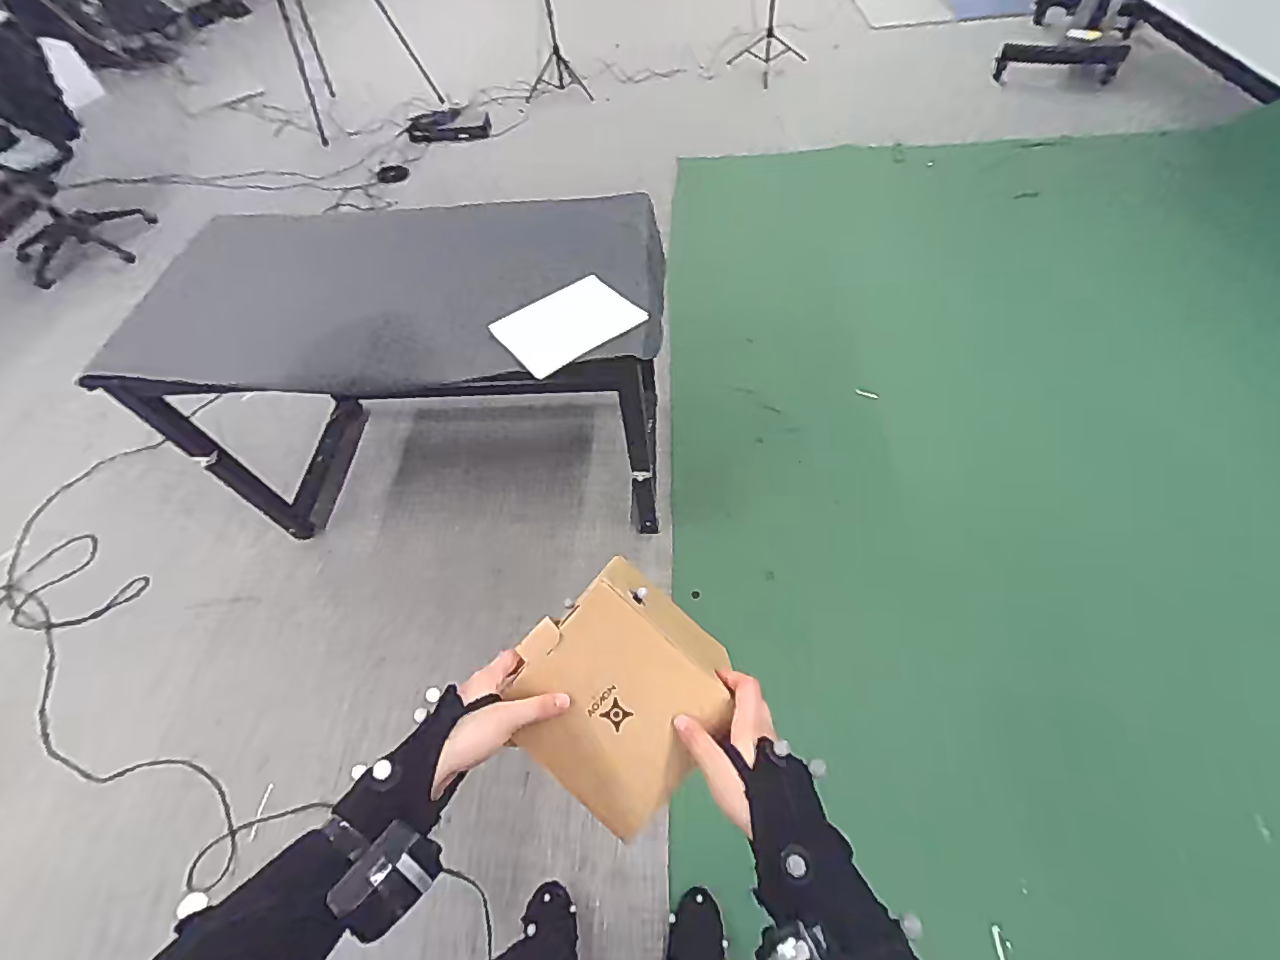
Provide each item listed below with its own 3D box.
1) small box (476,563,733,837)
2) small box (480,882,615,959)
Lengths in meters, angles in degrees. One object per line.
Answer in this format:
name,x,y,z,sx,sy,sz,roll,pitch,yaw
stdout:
small box,-0.027,0.204,0.562,0.179,0.176,0.168,41,92,4
small box,-0.170,0.912,1.027,0.176,0.168,0.179,49,41,3
